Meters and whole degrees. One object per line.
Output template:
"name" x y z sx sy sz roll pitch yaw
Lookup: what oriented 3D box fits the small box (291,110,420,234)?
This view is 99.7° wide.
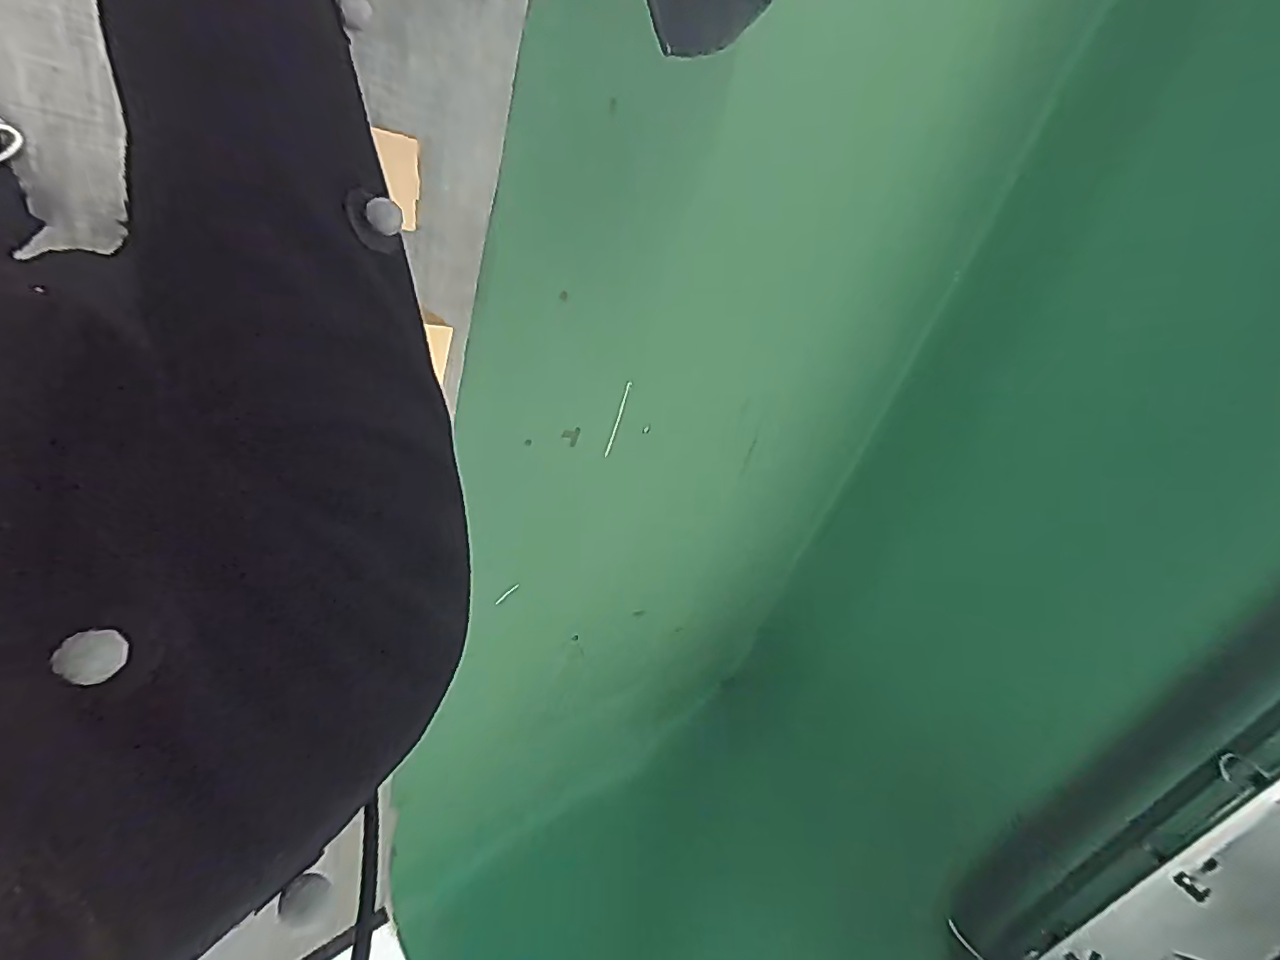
"small box" -0.548 -0.593 1.043 0.179 0.176 0.168 -12 128 -41
